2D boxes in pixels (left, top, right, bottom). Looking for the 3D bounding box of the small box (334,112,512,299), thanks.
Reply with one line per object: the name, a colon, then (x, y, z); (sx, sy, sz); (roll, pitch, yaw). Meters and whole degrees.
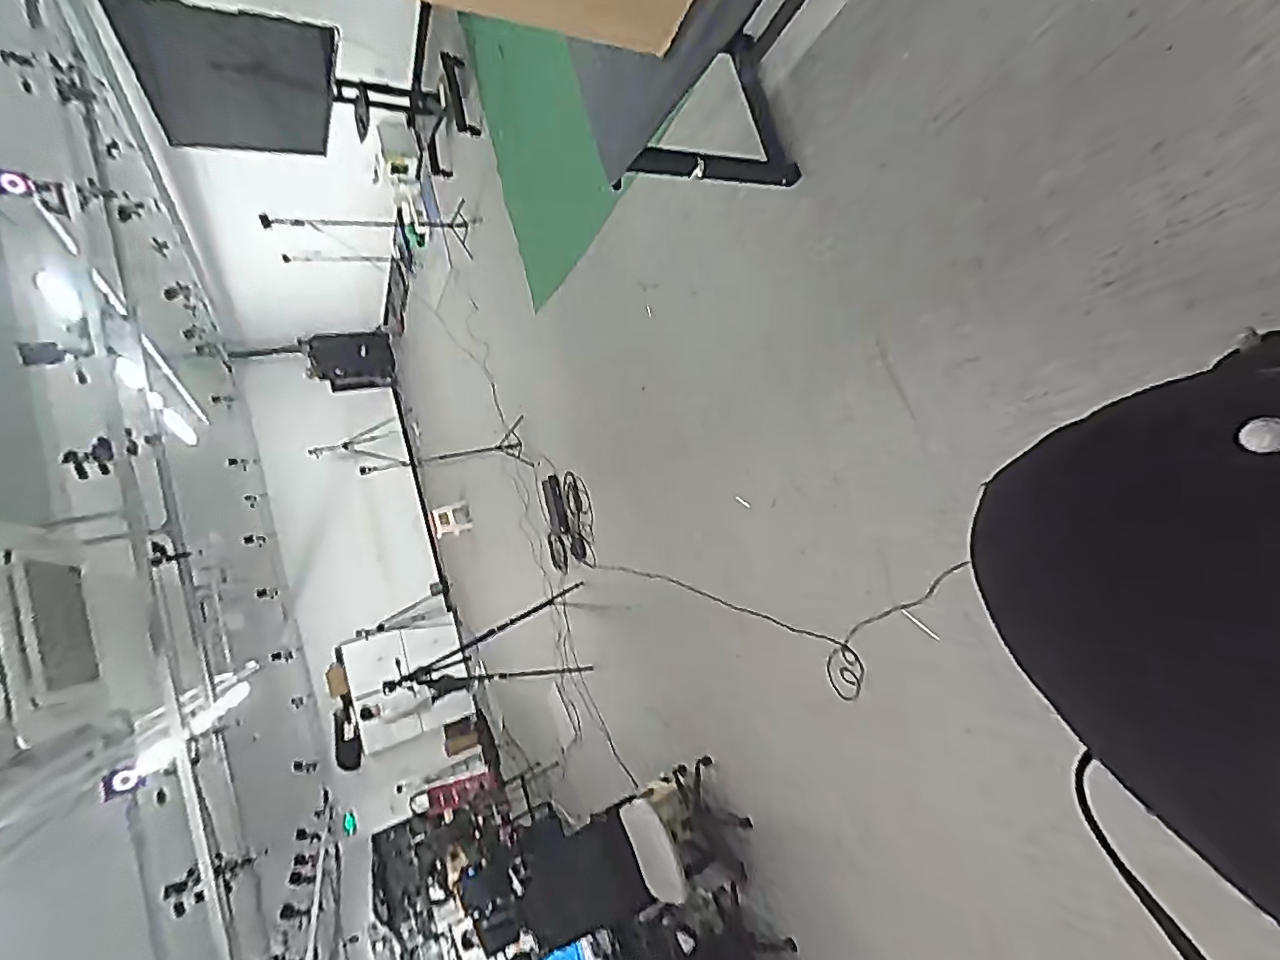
small box: (-0.340, -0.430, 0.844); (0.168, 0.176, 0.179); (-40, 151, 11)
